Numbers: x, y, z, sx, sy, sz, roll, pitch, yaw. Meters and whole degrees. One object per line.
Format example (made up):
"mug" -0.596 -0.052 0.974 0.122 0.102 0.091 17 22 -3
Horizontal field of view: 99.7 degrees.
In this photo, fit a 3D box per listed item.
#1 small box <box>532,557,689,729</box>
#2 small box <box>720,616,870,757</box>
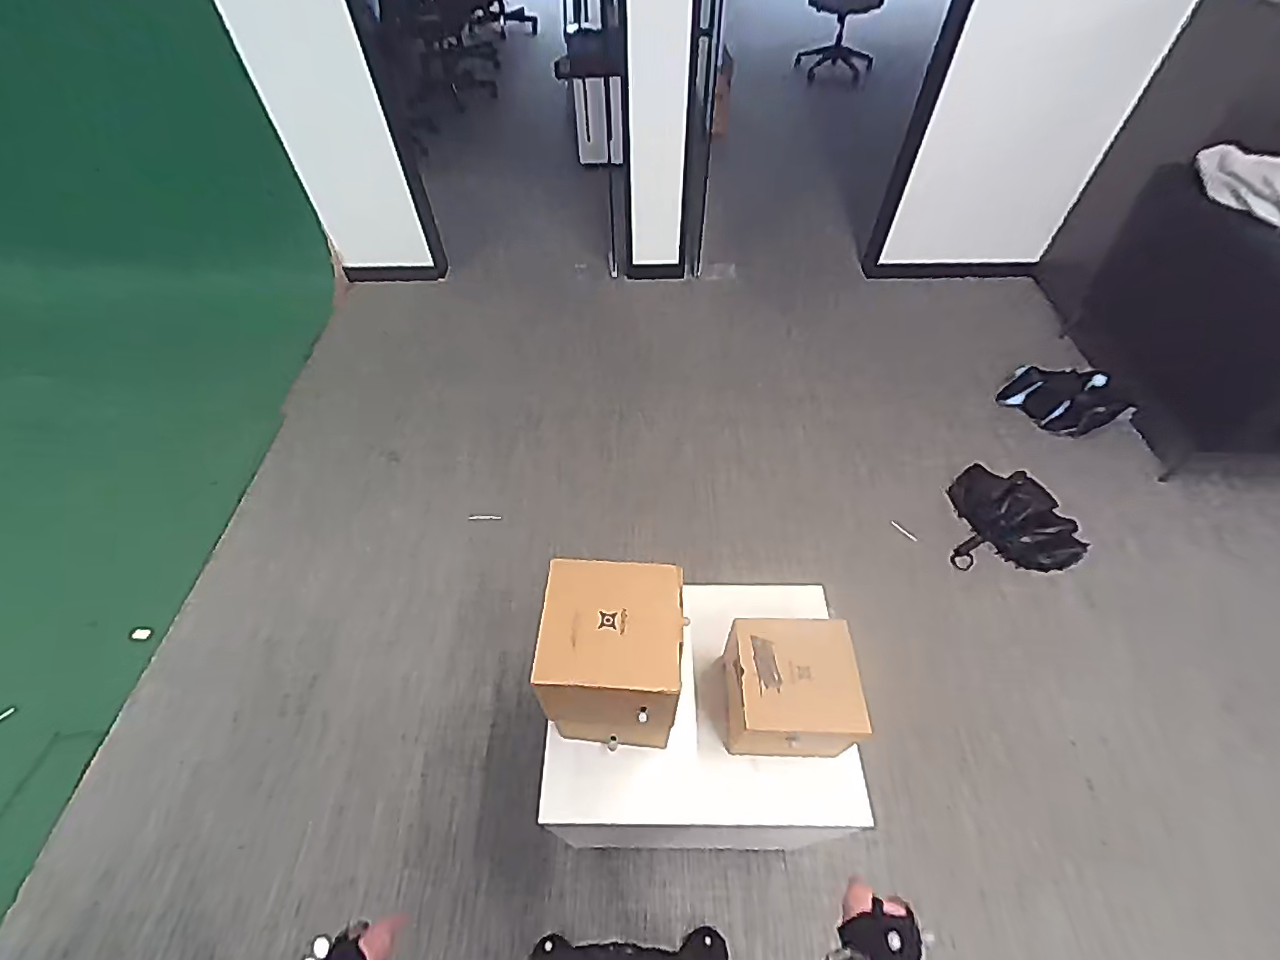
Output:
"small box" -0.033 0.217 0.709 0.179 0.176 0.168 2 51 0
"small box" 0.224 0.326 0.843 0.179 0.176 0.168 2 51 -3
